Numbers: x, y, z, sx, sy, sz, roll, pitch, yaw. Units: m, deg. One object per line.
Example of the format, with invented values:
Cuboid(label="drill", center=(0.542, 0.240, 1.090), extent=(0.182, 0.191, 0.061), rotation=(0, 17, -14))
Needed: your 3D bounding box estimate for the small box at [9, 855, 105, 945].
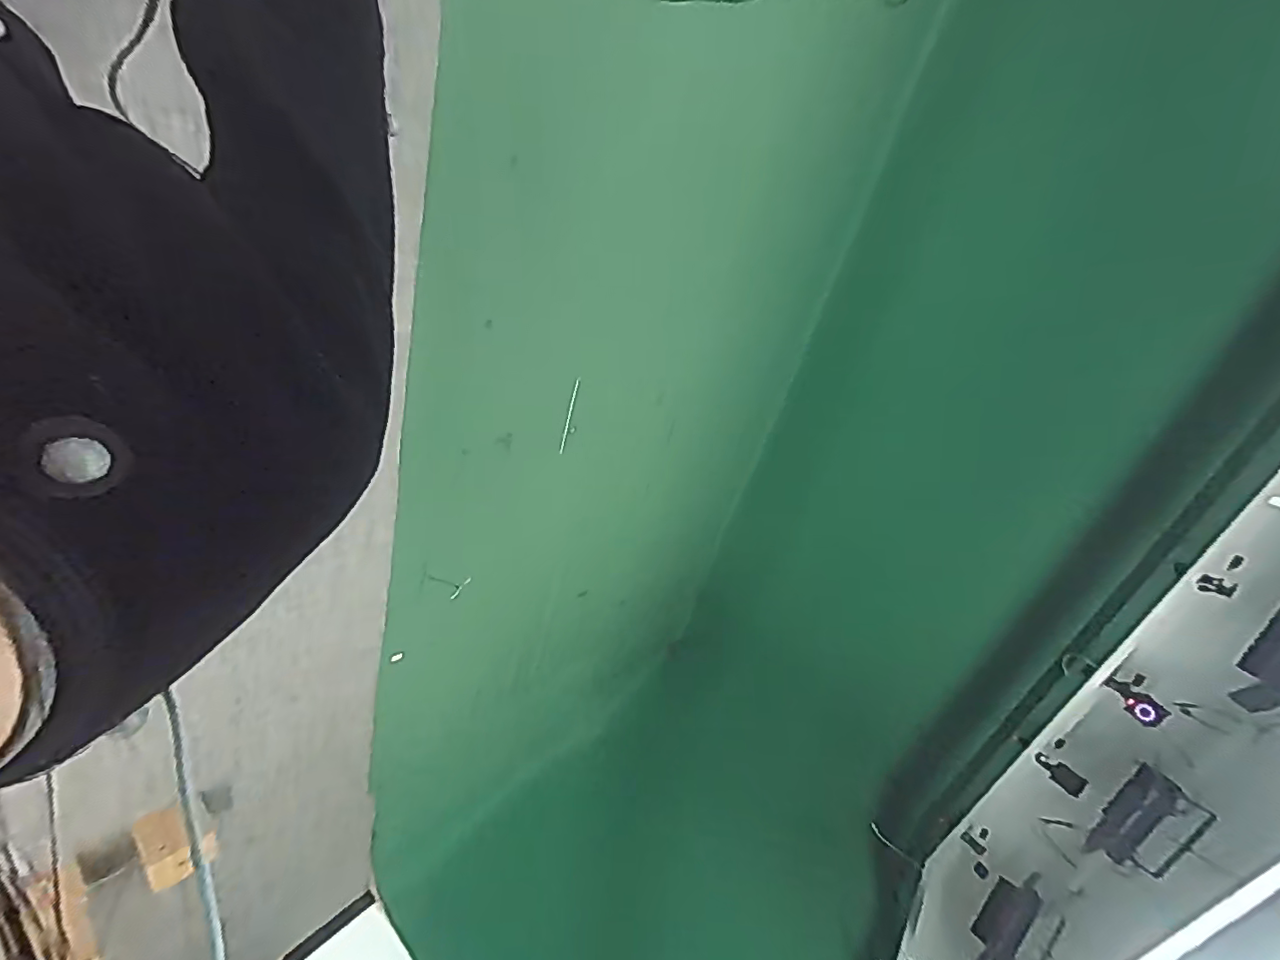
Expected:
Cuboid(label="small box", center=(-1.697, 1.253, 1.574), extent=(0.168, 0.176, 0.179), rotation=(-6, 122, -56))

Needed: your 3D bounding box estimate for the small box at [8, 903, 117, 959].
Cuboid(label="small box", center=(-1.583, 1.328, 1.482), extent=(0.179, 0.176, 0.168), rotation=(-7, 123, -56))

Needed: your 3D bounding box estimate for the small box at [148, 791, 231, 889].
Cuboid(label="small box", center=(-1.510, 1.197, 1.809), extent=(0.179, 0.176, 0.168), rotation=(-19, 133, -50))
